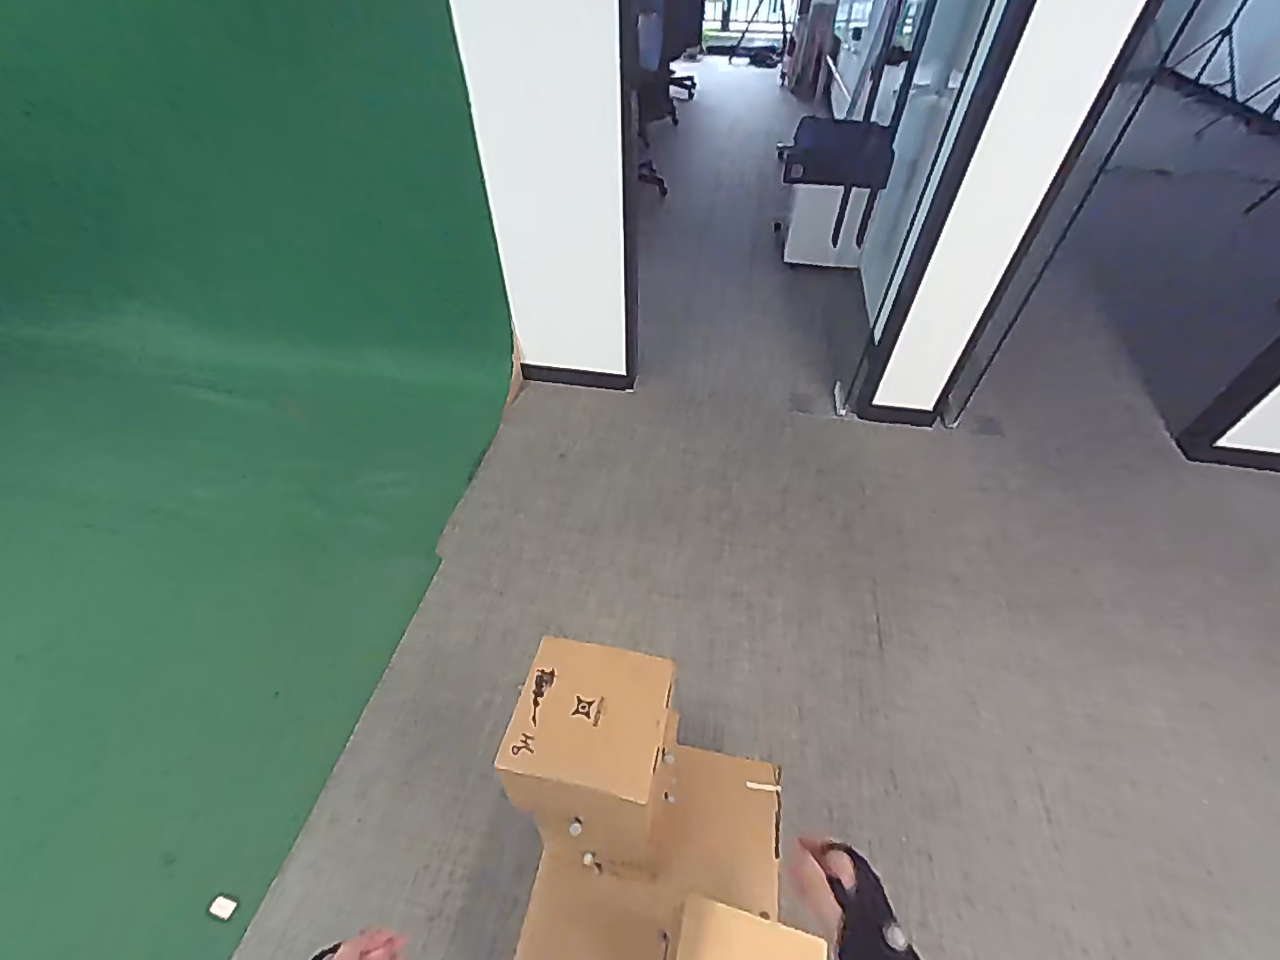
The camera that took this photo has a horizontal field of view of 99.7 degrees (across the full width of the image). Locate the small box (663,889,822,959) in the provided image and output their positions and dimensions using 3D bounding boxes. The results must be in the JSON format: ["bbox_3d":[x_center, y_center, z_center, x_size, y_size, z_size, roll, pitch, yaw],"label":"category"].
[{"bbox_3d":[0.106,0.622,0.634,0.168,0.176,0.179,12,47,9],"label":"small box"}]

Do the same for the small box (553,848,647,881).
[{"bbox_3d":[-0.054,0.552,0.929,0.168,0.176,0.179,8,44,8],"label":"small box"}]

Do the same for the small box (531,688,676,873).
[{"bbox_3d":[-0.047,0.445,0.803,0.168,0.176,0.179,10,45,9],"label":"small box"}]
